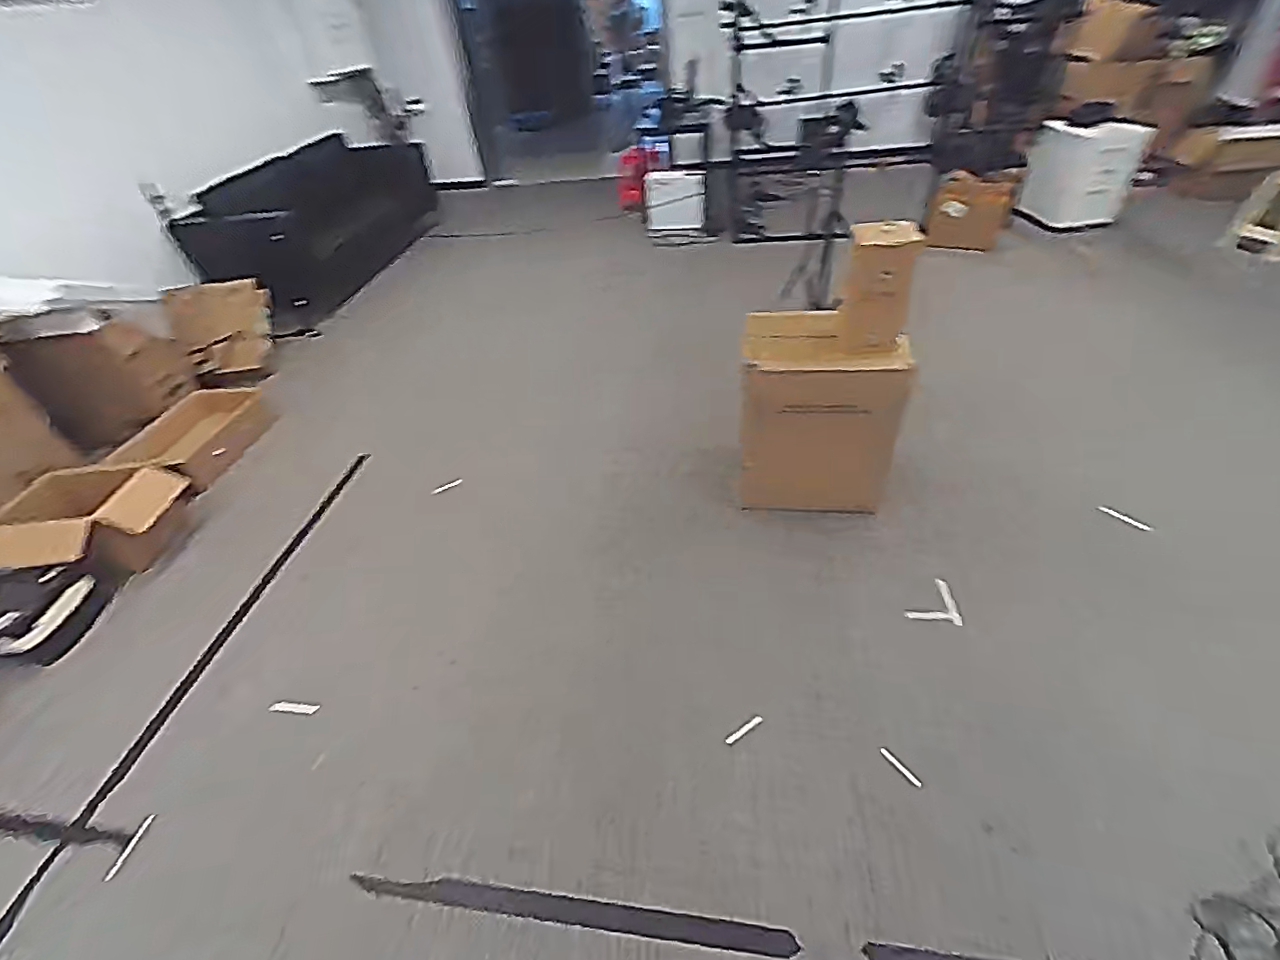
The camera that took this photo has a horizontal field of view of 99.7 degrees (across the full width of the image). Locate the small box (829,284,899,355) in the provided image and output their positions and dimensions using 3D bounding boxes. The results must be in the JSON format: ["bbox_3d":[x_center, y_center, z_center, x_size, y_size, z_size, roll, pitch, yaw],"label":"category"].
[{"bbox_3d":[0.710,-0.517,1.734,0.168,0.176,0.179,0,42,10],"label":"small box"}]

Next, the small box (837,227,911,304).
[{"bbox_3d":[0.697,-0.641,1.628,0.168,0.176,0.179,1,43,11],"label":"small box"}]
